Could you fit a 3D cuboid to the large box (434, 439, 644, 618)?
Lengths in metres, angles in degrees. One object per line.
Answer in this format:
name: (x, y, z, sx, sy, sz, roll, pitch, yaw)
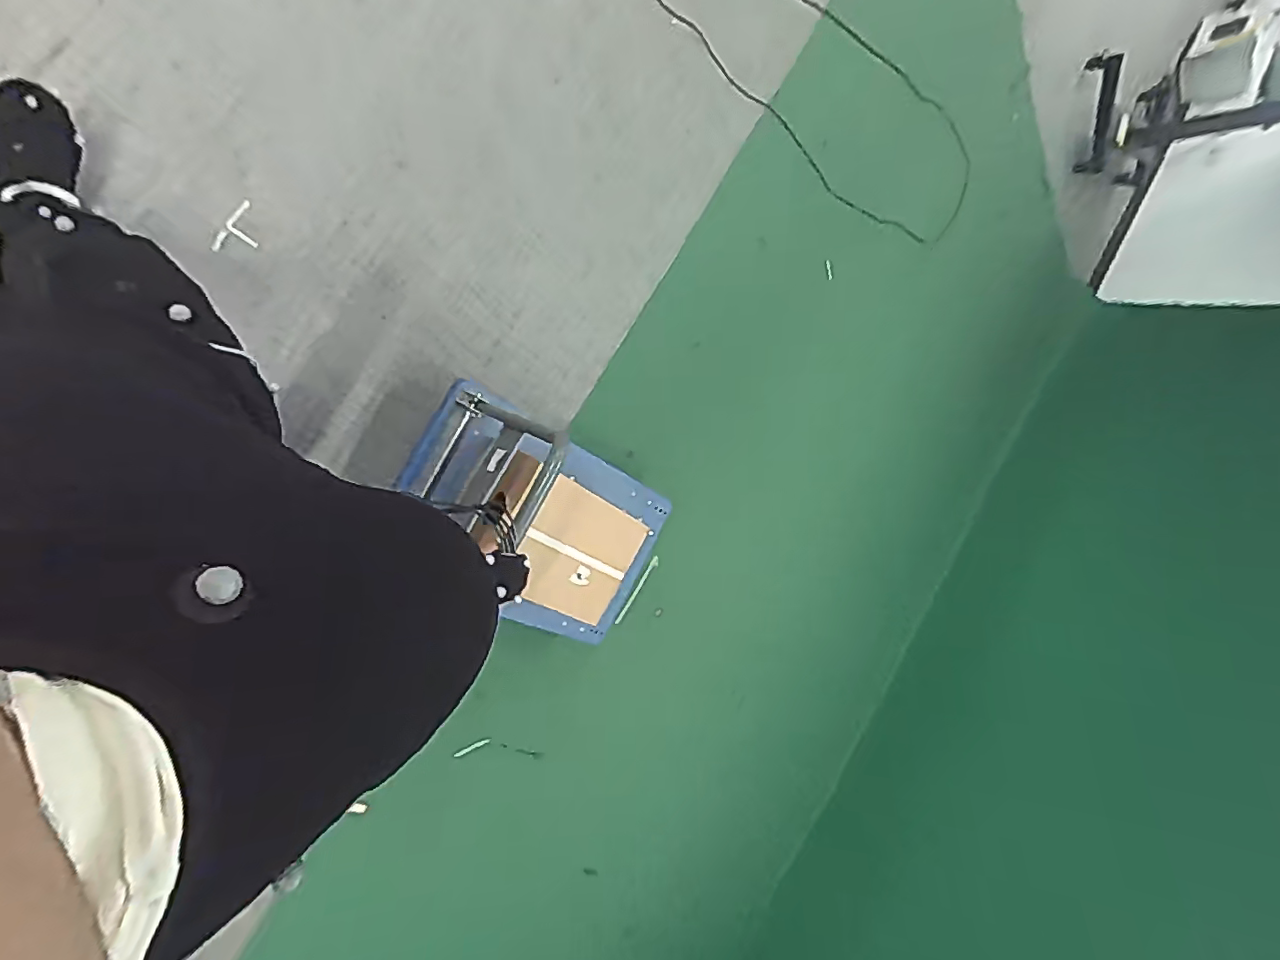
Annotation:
large box: (-0.277, 0.130, 1.484, 0.408, 0.320, 0.320, 34, 84, -39)
